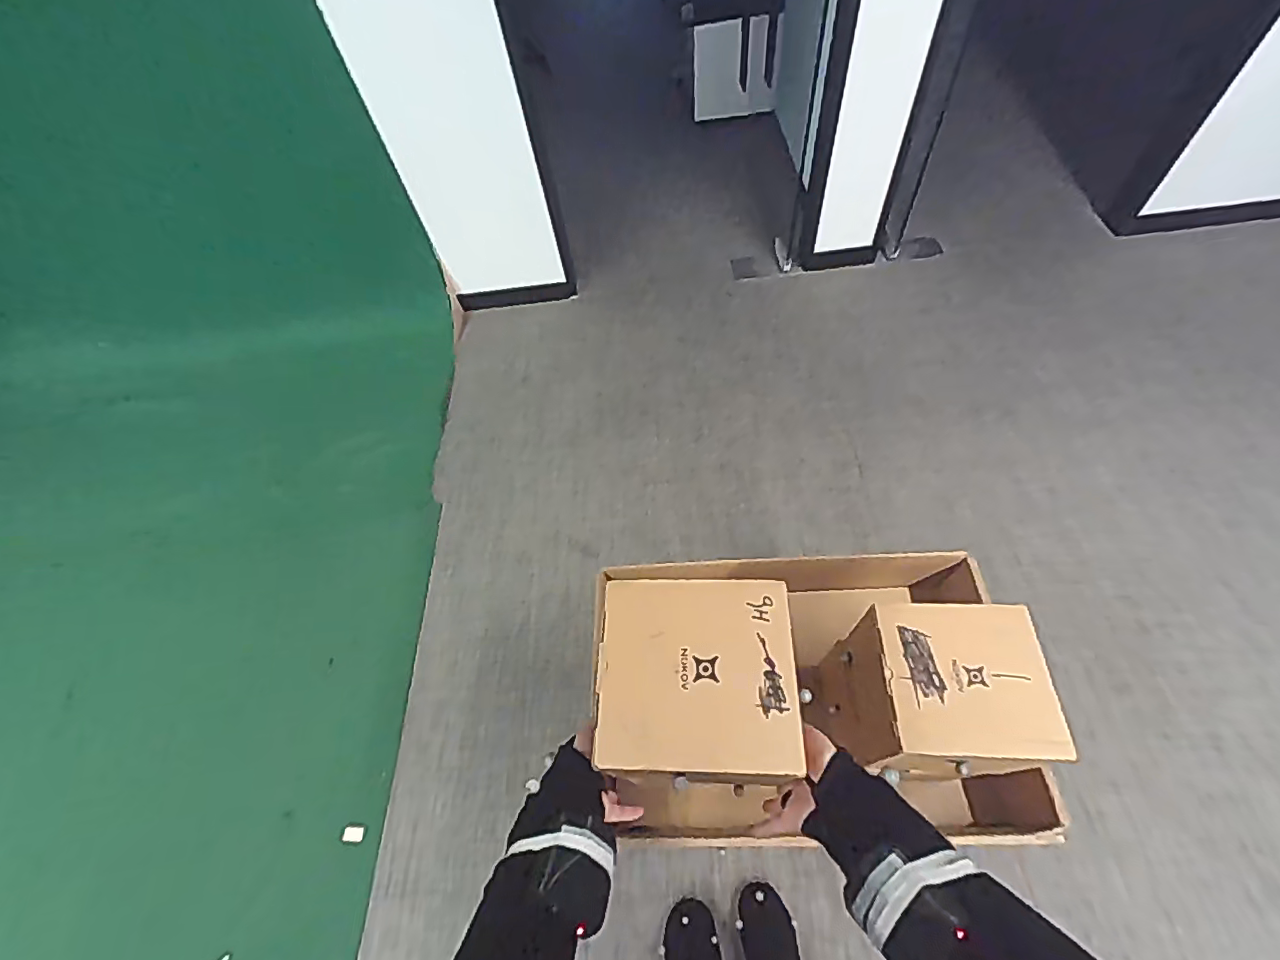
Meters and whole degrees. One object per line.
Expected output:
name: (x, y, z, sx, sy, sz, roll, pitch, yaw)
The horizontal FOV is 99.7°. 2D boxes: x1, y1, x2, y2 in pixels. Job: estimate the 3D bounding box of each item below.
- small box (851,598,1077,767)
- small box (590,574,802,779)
small box: (0.371, 0.253, 0.665, 0.179, 0.176, 0.168, -1, 58, 6)
small box: (0.057, 0.203, 0.548, 0.179, 0.176, 0.168, -1, 59, 6)
